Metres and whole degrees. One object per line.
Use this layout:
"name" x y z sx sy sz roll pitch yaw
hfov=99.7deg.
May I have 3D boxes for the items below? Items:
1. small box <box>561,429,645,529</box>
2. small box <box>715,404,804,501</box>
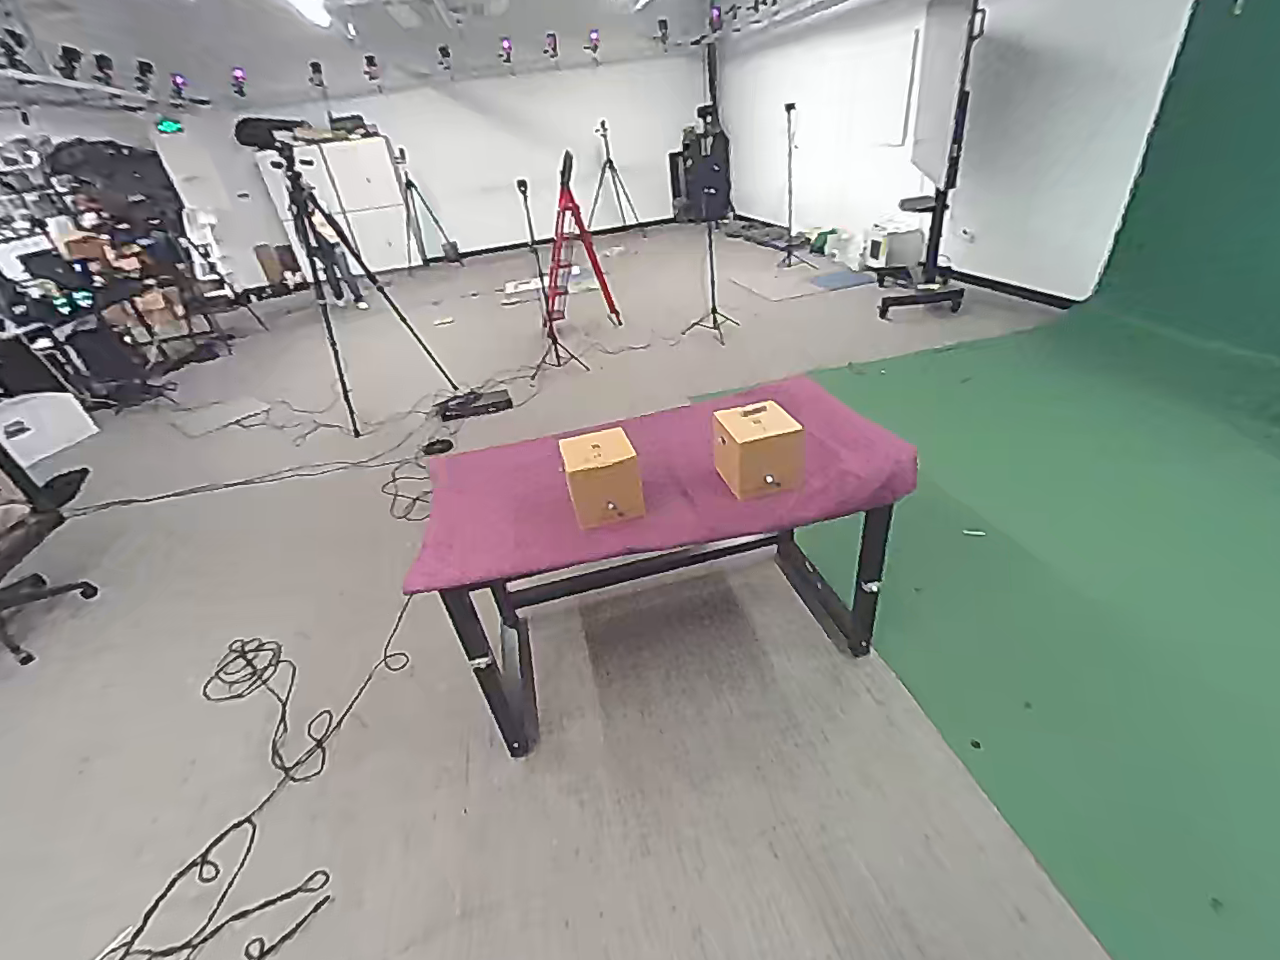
"small box" -0.093 -0.003 1.339 0.168 0.176 0.179 -14 32 -9
"small box" 0.296 -0.070 1.368 0.168 0.176 0.179 -13 33 -7
